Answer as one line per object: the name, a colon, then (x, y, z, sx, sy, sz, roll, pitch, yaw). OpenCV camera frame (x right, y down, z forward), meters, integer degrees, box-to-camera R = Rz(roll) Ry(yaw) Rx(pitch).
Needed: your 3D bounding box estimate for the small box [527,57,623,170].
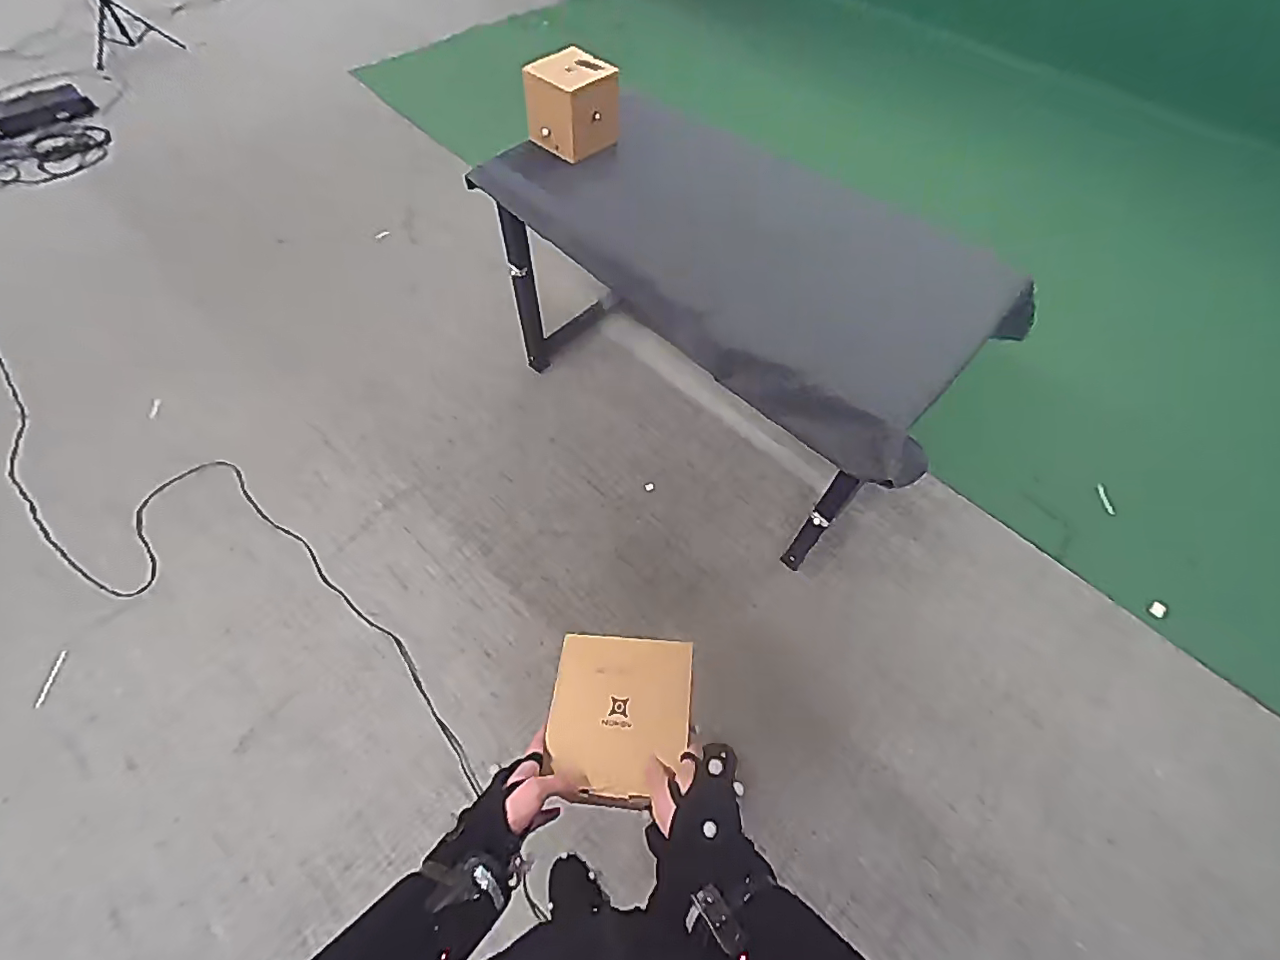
small box: (-0.163, -0.933, 1.380, 0.168, 0.176, 0.179, 38, 64, 19)

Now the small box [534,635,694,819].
small box: (-0.019, 0.314, 0.681, 0.168, 0.176, 0.179, 2, 53, 7)
